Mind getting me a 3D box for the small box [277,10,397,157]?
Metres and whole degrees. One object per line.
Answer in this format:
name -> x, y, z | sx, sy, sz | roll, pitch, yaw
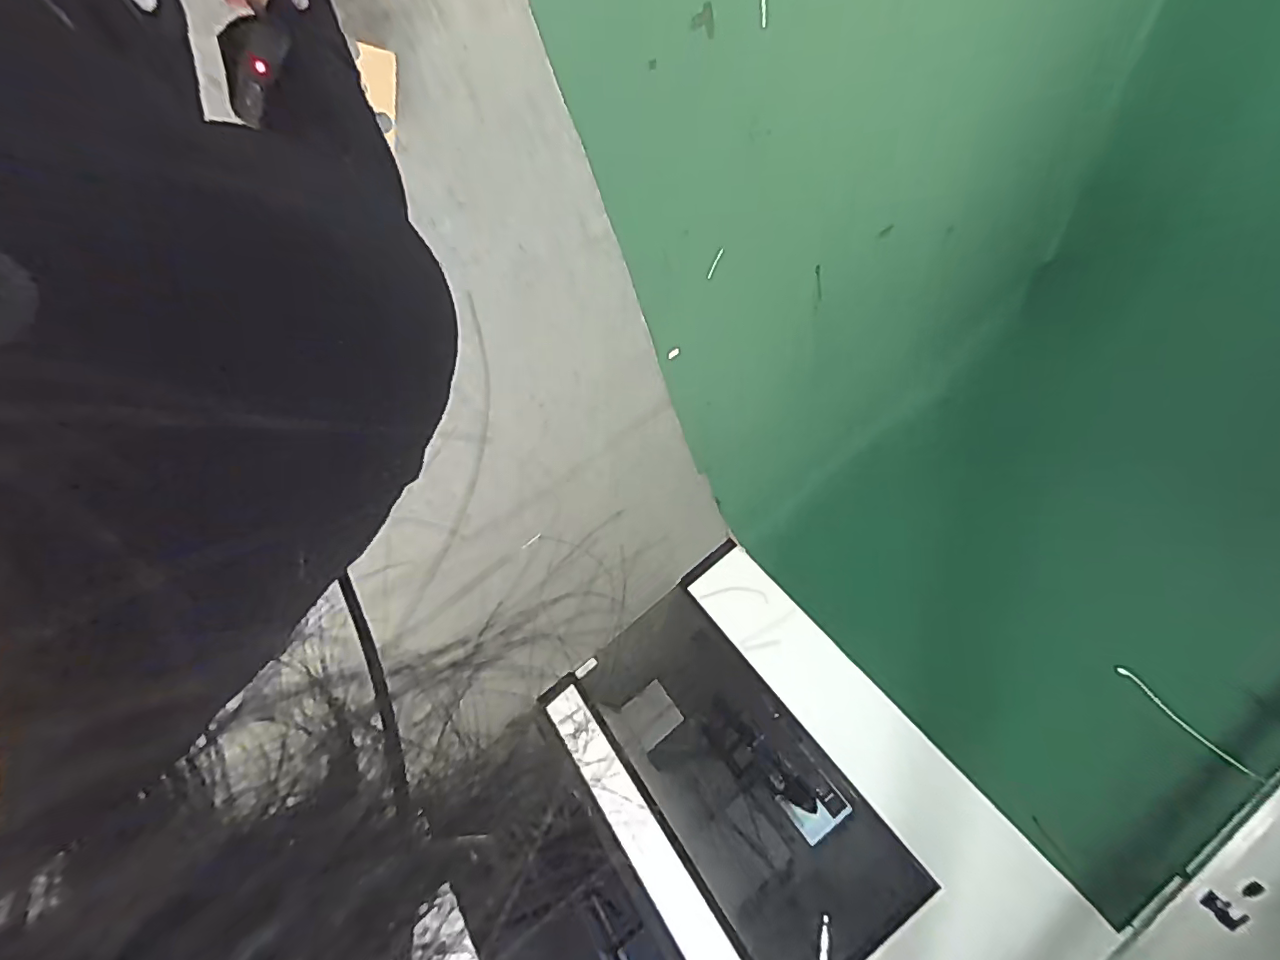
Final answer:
small box -> -0.580, -0.755, 1.035 | 0.168, 0.176, 0.179 | -12, 136, -38
